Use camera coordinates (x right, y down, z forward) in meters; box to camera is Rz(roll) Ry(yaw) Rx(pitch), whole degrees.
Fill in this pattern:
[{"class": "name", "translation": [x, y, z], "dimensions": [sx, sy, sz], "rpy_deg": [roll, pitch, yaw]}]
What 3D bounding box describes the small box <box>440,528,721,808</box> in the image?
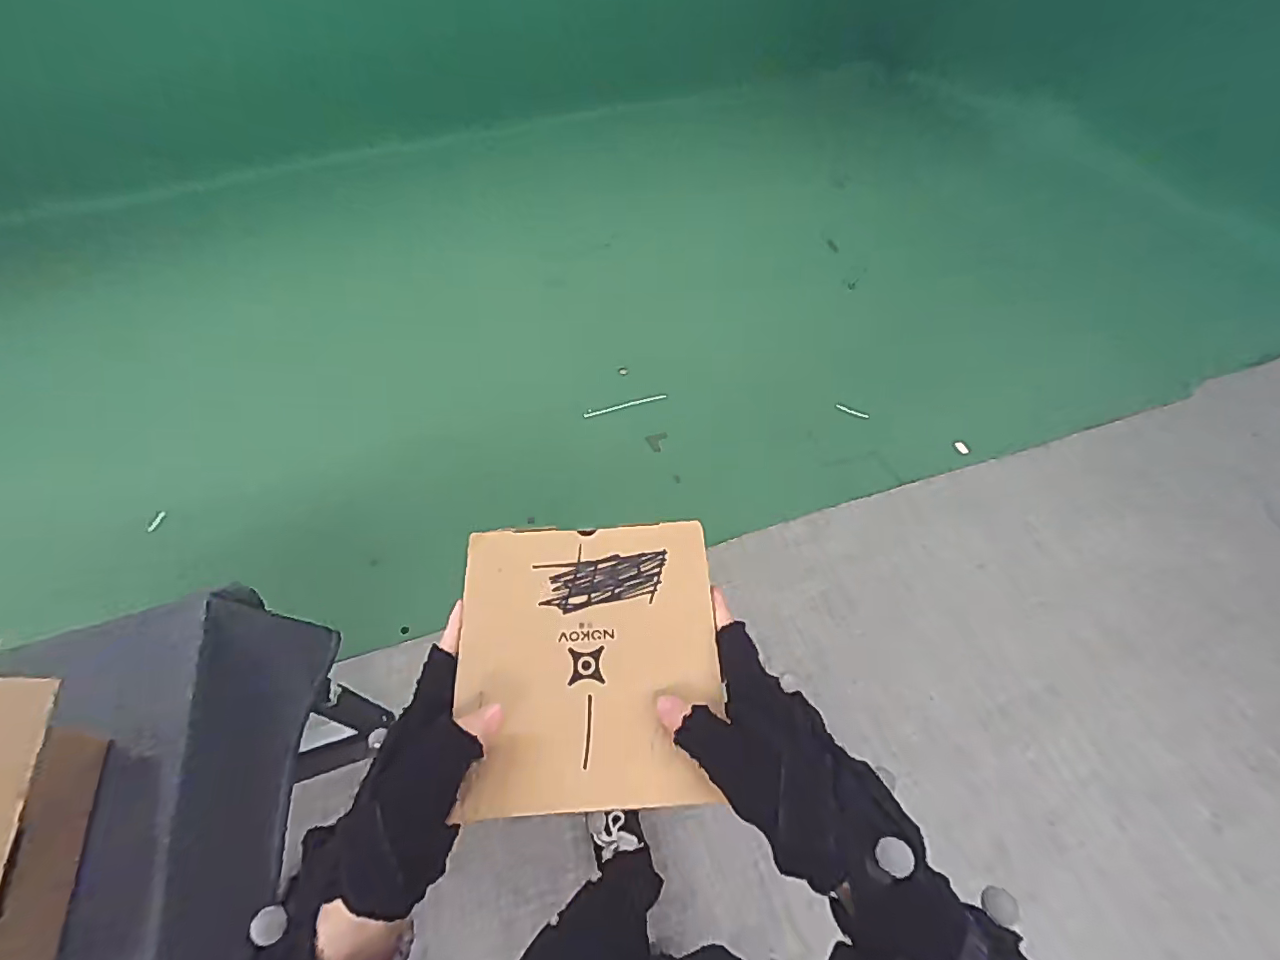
[{"class": "small box", "translation": [-0.038, 0.151, 0.421], "dimensions": [0.168, 0.176, 0.179], "rpy_deg": [-2, 61, -2]}]
